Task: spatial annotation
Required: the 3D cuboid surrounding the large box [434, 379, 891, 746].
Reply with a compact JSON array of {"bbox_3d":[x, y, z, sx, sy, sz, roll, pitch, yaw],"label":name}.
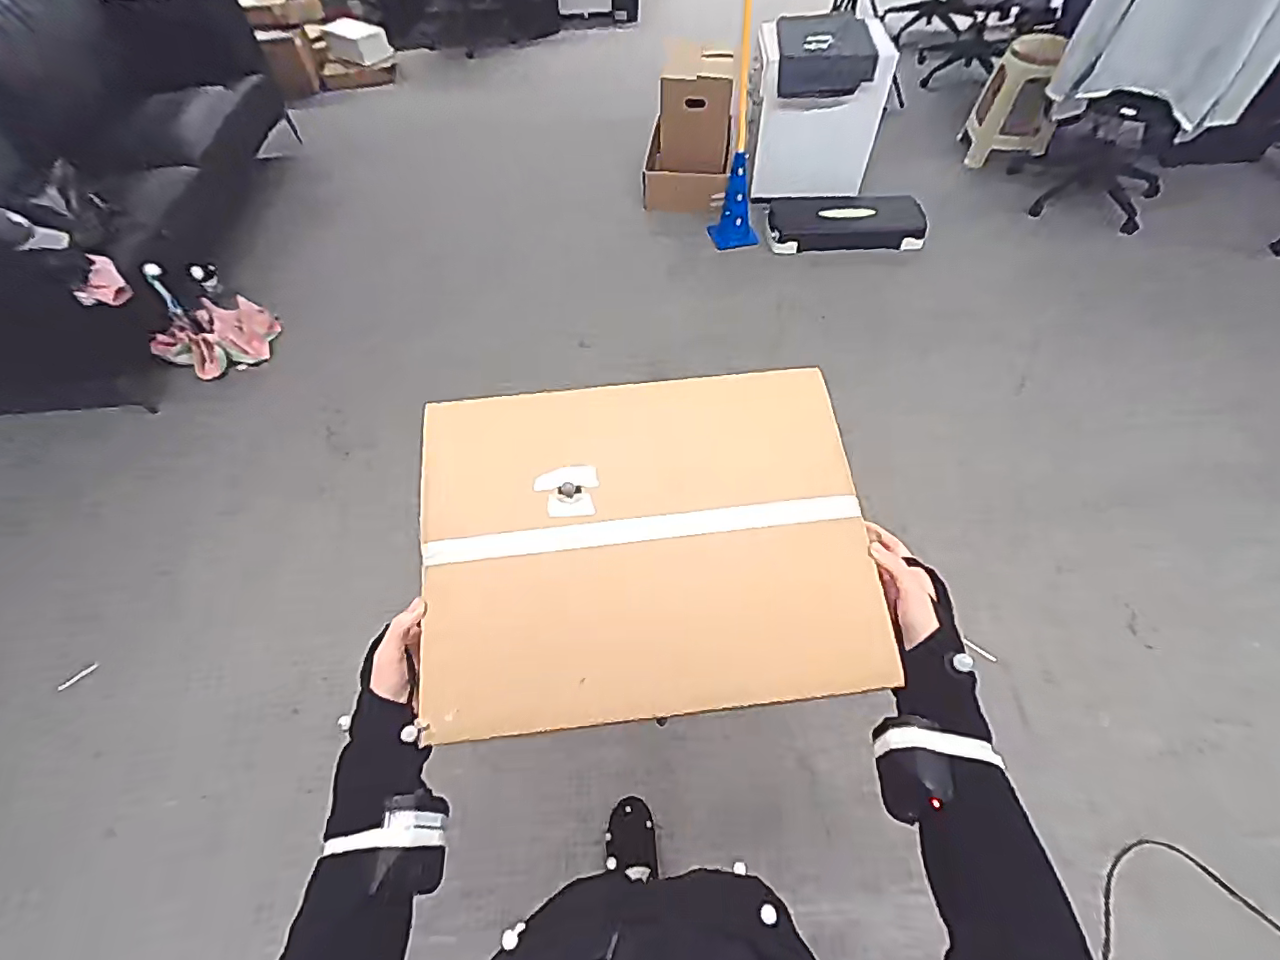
[{"bbox_3d":[0.008,0.108,0.652,0.408,0.320,0.320,-6,69,-2],"label":"large box"}]
